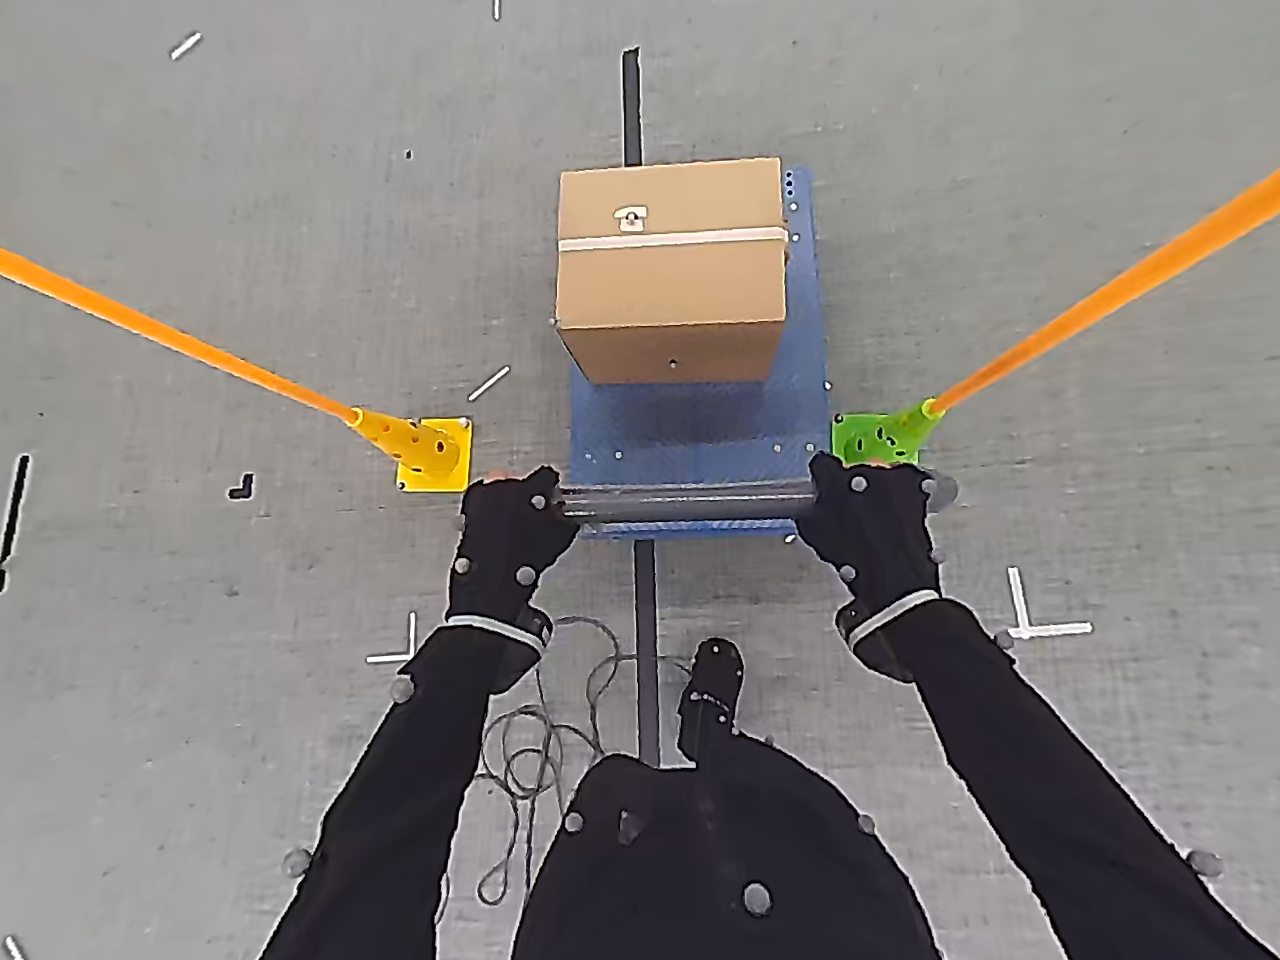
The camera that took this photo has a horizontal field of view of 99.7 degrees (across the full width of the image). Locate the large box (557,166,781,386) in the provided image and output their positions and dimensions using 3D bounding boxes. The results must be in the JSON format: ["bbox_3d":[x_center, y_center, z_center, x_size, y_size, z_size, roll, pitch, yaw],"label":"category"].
[{"bbox_3d":[0.067,-0.391,1.121,0.408,0.320,0.320,0,81,7],"label":"large box"}]

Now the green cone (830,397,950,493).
[{"bbox_3d":[0.554,-0.096,1.156,0.202,0.368,0.200,1,80,6],"label":"green cone"}]
